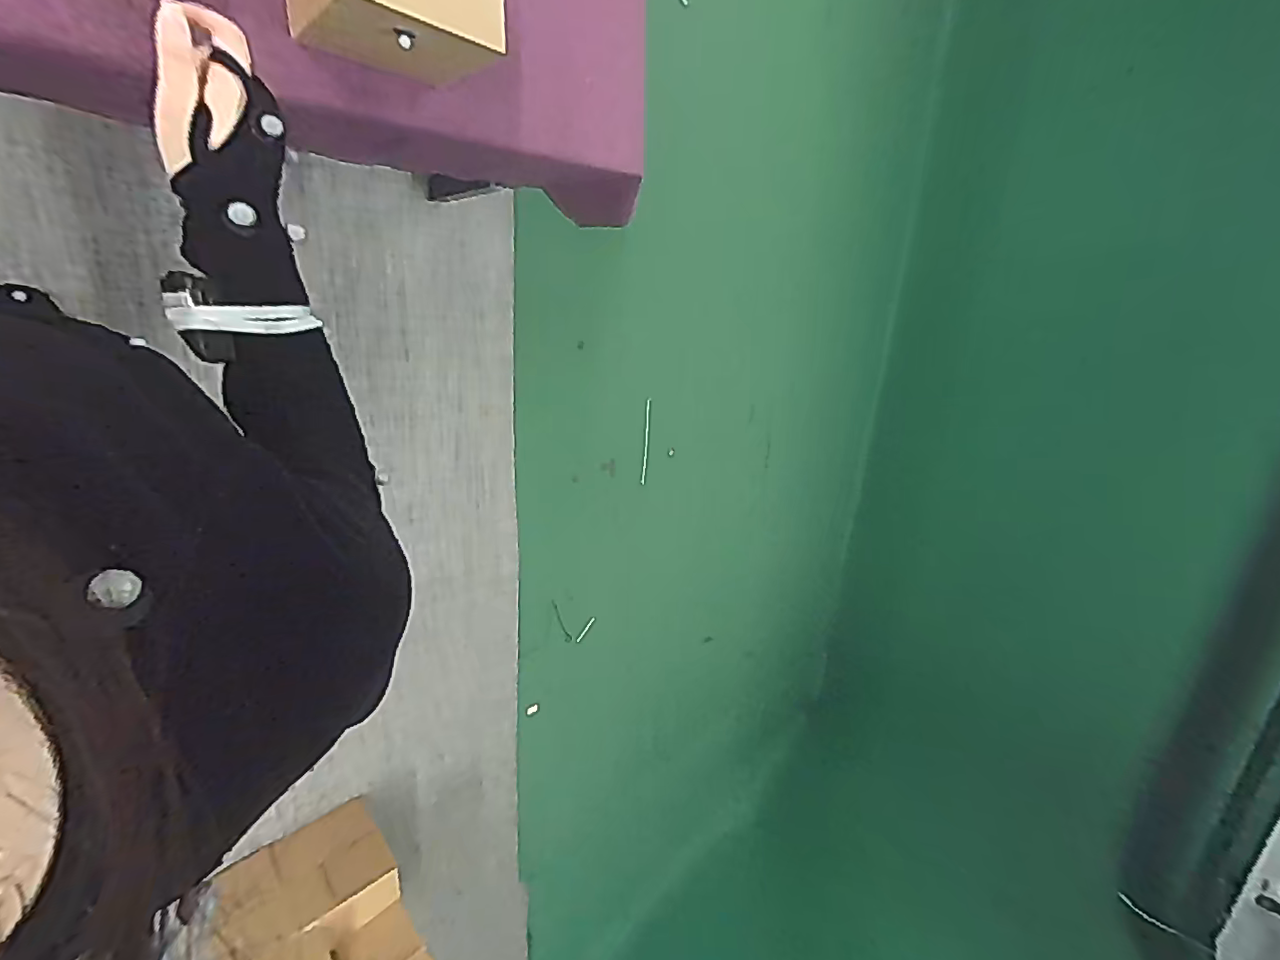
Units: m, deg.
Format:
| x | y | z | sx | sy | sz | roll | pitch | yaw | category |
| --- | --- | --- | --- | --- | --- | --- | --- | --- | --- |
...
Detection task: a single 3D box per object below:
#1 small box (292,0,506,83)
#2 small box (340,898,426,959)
| x | y | z | sx | sy | sz | roll | pitch | yaw | category |
| --- | --- | --- | --- | --- | --- | --- | --- | --- | --- |
| -0.269 | -0.567 | 0.589 | 0.179 | 0.176 | 0.168 | -16 | 116 | -44 | small box |
| -0.702 | 1.314 | 1.476 | 0.179 | 0.176 | 0.168 | -16 | 118 | -44 | small box |
